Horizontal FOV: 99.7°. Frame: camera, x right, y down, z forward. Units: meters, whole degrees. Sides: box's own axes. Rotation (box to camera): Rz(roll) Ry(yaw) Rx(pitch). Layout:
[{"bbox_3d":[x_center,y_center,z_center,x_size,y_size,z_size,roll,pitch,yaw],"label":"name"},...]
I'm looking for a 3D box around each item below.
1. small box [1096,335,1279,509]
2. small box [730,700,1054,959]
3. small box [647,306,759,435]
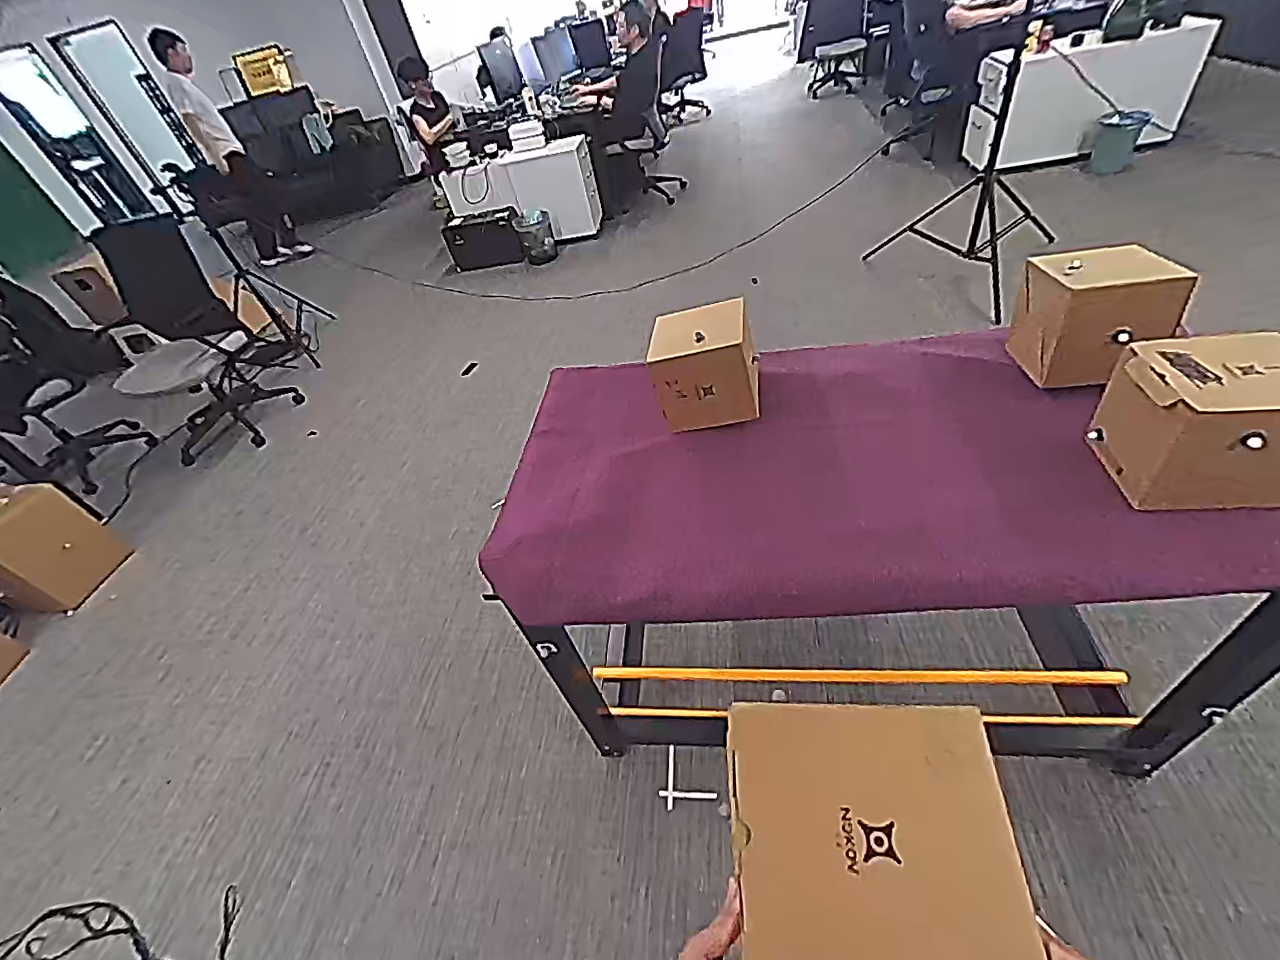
[{"bbox_3d":[0.760,-0.073,0.726,0.179,0.176,0.168,-2,43,13],"label":"small box"},{"bbox_3d":[0.162,0.270,0.414,0.179,0.176,0.168,-3,58,8],"label":"small box"},{"bbox_3d":[0.126,-0.211,1.035,0.179,0.168,0.176,-7,41,18],"label":"small box"}]
